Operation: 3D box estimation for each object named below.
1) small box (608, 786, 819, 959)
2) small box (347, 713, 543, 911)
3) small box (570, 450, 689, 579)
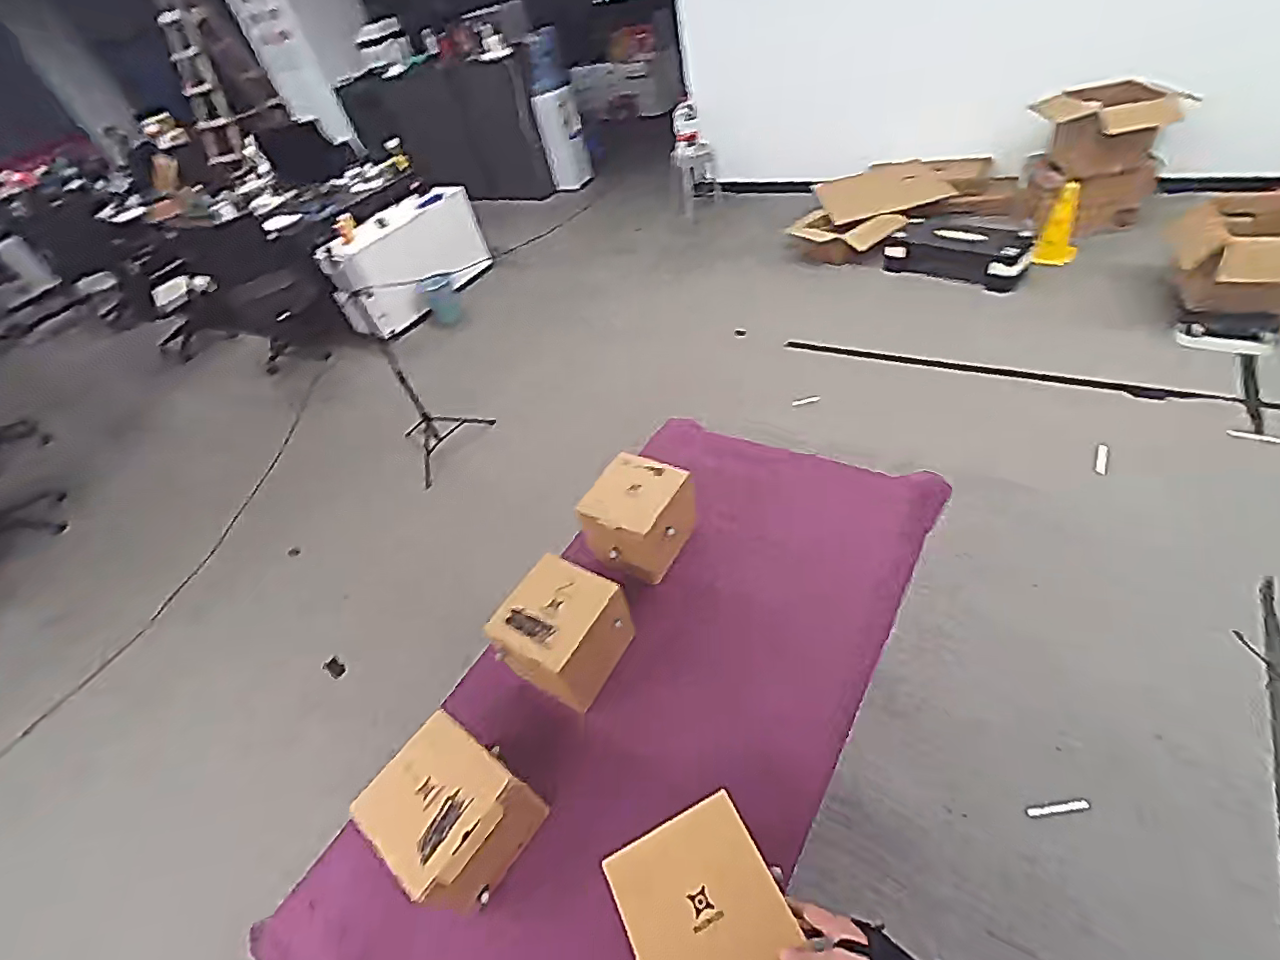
[{"bbox_3d":[0.076,0.504,0.629,0.168,0.176,0.179,-22,47,-14],"label":"small box"},{"bbox_3d":[-0.270,0.481,0.783,0.179,0.176,0.168,22,56,32],"label":"small box"},{"bbox_3d":[-0.010,0.073,1.102,0.168,0.176,0.179,19,55,27],"label":"small box"}]
